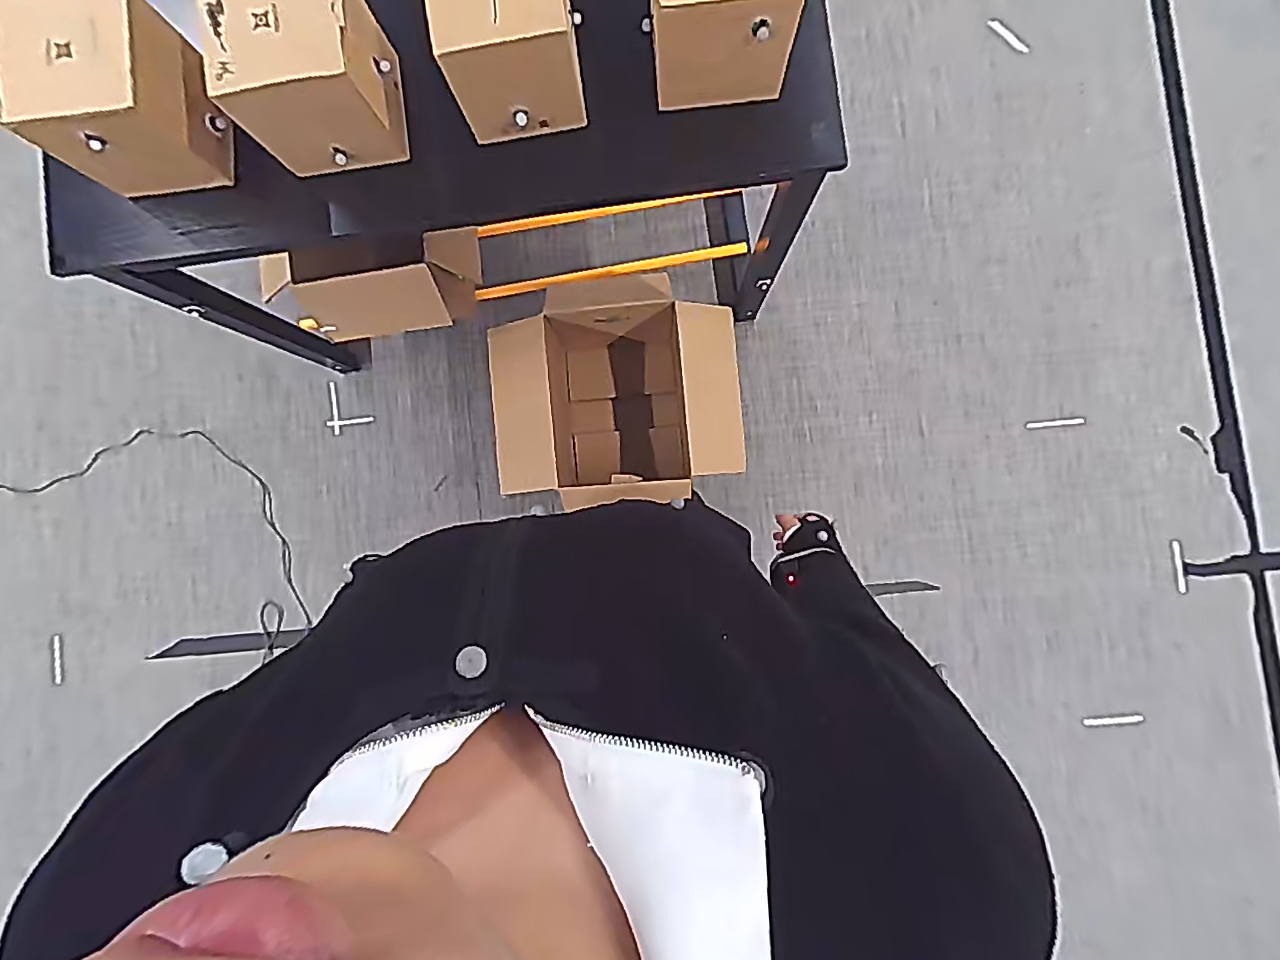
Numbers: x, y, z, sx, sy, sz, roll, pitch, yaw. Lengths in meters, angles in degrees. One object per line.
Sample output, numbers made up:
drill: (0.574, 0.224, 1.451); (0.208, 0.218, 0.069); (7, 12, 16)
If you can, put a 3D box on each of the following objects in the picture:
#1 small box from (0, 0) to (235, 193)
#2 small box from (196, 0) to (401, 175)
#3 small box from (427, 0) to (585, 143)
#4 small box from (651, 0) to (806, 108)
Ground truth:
small box: (-0.702, -0.516, 0.734); (0.179, 0.176, 0.168); (-6, 89, 1)
small box: (-0.440, -0.543, 0.725); (0.179, 0.176, 0.168); (-8, 87, 1)
small box: (-0.172, -0.593, 0.717); (0.168, 0.176, 0.179); (-9, 88, 2)
small box: (0.105, -0.627, 0.706); (0.179, 0.176, 0.168); (-4, 86, 2)
